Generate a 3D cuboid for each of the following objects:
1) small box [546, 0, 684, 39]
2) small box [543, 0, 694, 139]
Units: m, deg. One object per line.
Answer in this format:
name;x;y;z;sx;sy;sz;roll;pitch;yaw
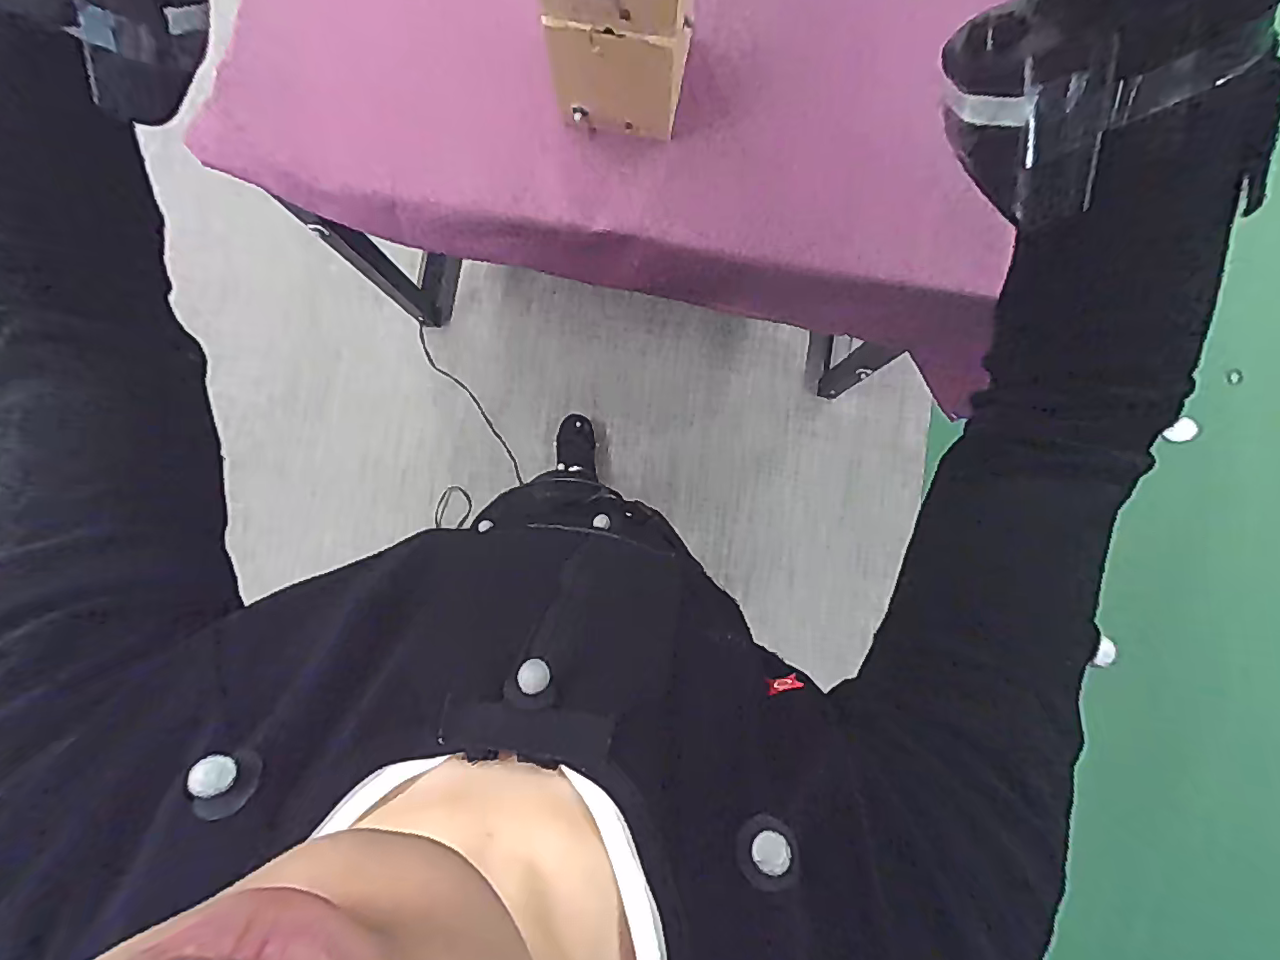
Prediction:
small box;-0.021;-0.627;0.570;0.168;0.176;0.179;11;86;2
small box;-0.020;-0.606;0.733;0.168;0.176;0.179;11;85;1
